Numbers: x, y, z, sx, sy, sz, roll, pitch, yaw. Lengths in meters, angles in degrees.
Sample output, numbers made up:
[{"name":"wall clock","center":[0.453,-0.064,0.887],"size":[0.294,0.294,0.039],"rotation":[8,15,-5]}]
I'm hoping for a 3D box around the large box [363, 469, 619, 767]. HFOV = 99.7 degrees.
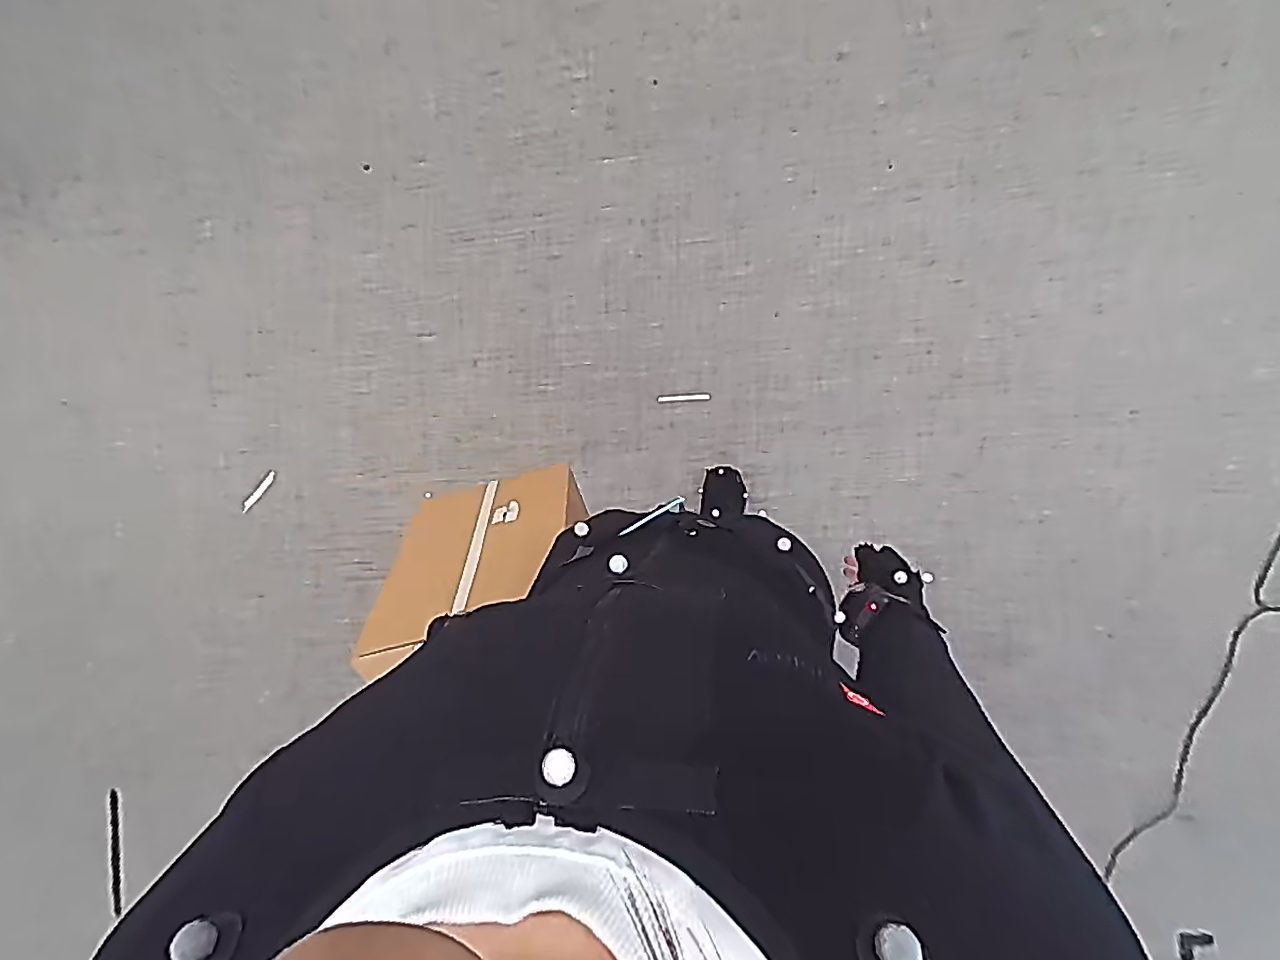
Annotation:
[{"name":"large box","center":[-0.234,0.239,1.014],"size":[0.320,0.408,0.320],"rotation":[-14,121,4]}]
